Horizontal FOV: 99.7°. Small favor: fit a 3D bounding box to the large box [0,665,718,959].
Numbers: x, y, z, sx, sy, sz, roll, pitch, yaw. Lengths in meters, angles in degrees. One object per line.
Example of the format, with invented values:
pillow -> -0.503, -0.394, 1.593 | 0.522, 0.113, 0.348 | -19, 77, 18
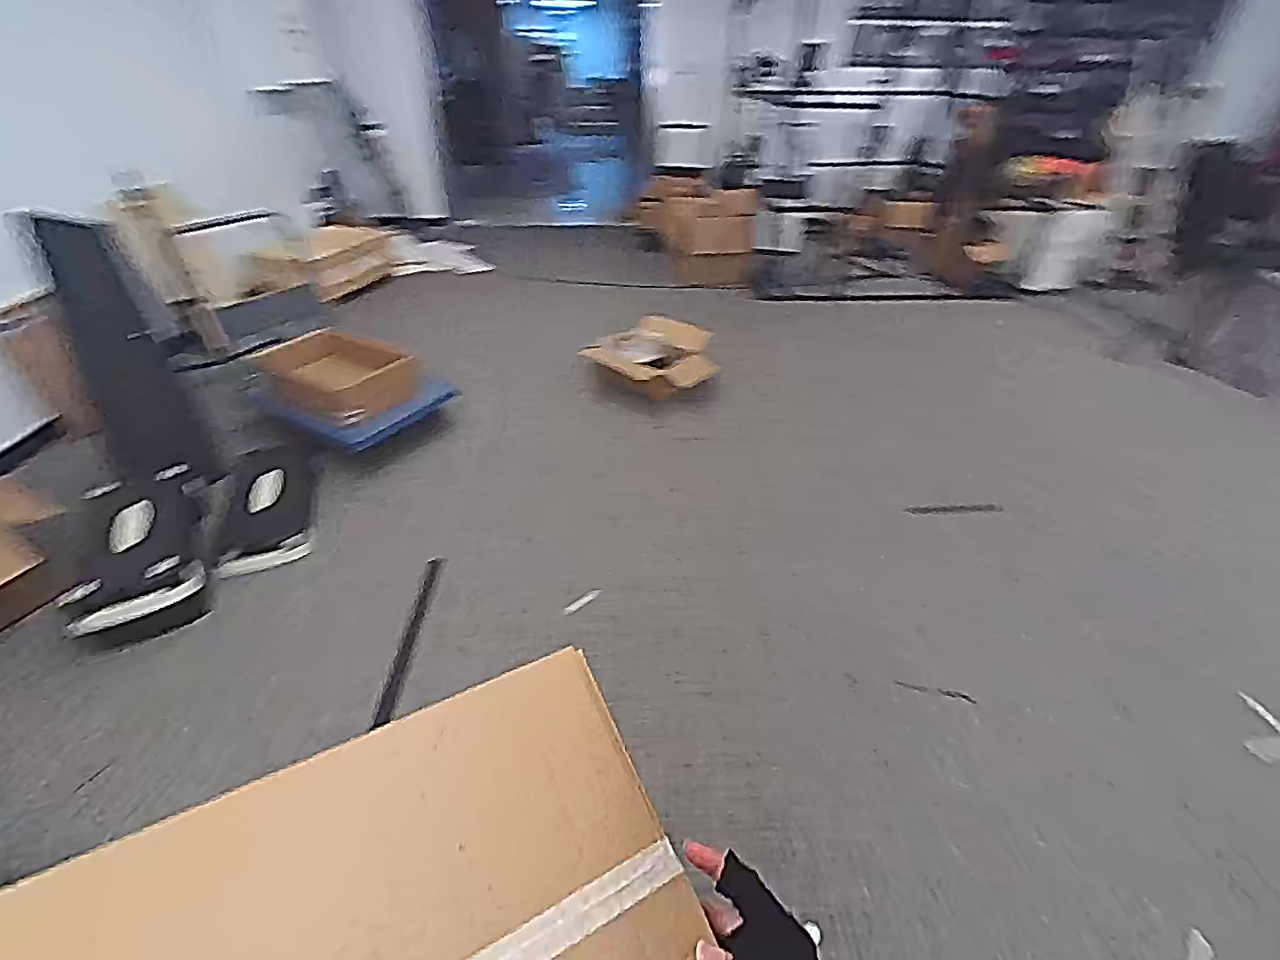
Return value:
large box -> -0.162, 0.404, 0.381 | 0.408, 0.320, 0.320 | -17, 50, -20
